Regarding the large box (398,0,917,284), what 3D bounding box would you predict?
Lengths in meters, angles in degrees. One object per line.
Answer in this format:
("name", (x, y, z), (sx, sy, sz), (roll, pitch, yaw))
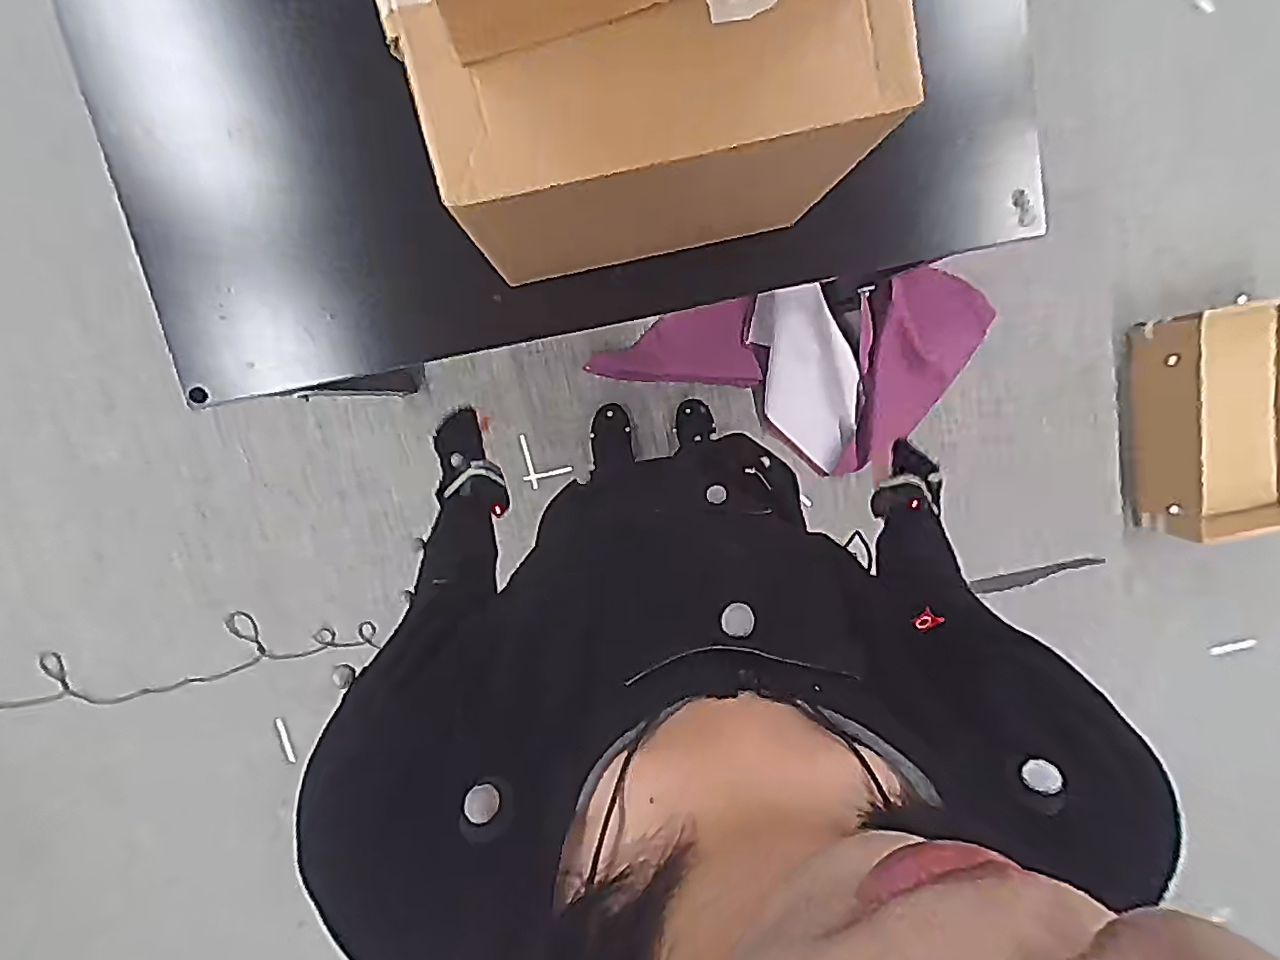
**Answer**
("large box", (-0.009, -0.438, 0.567), (0.408, 0.320, 0.320), (-15, 99, -3))
